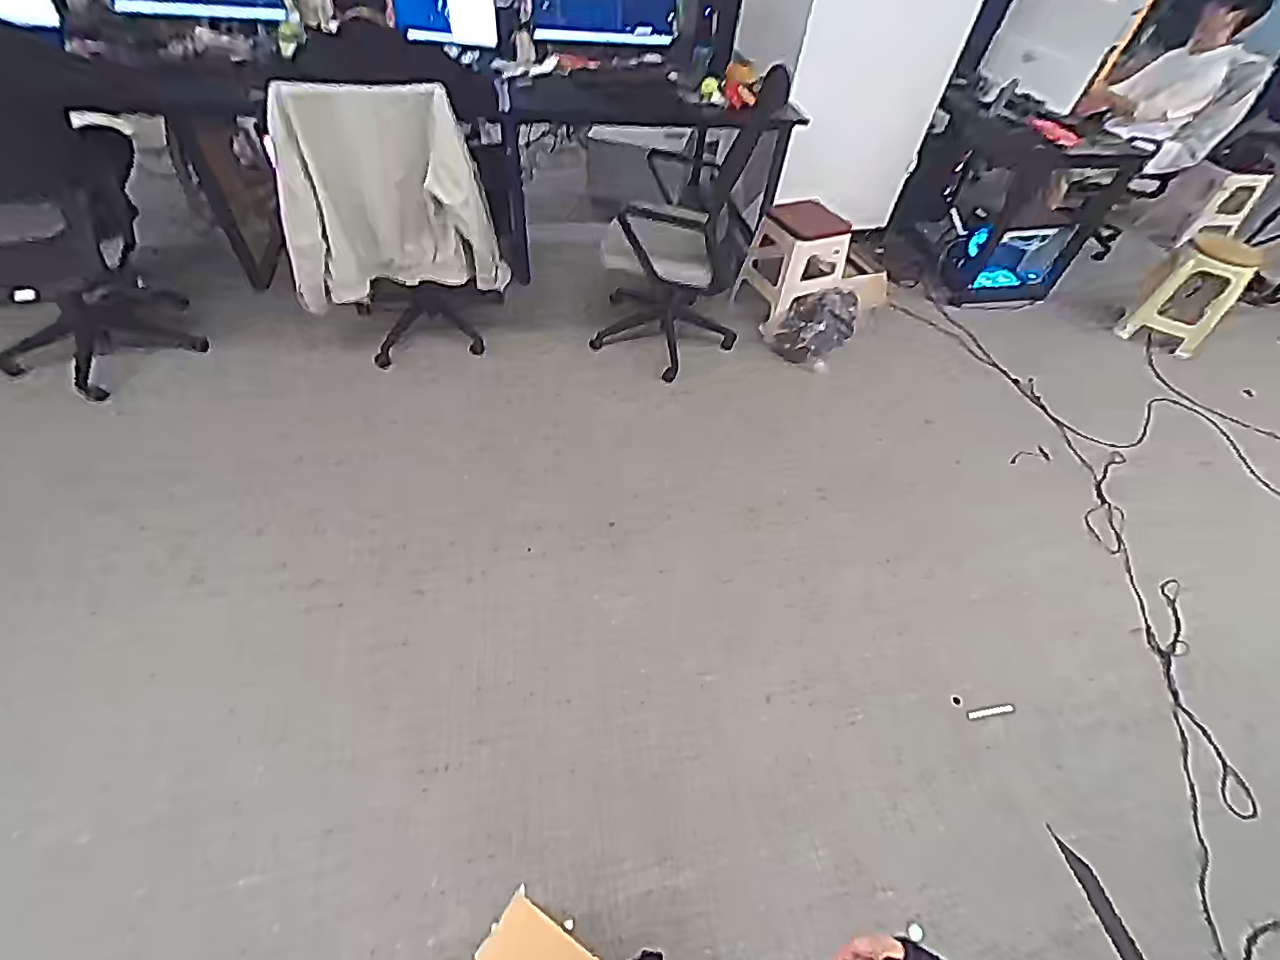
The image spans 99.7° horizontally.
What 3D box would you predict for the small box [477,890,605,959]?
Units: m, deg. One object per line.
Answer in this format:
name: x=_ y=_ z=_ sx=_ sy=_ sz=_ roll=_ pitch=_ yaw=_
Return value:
small box: x=-0.175 y=0.822 z=0.888 sx=0.179 sy=0.176 sz=0.168 roll=29 pitch=53 yaw=16
